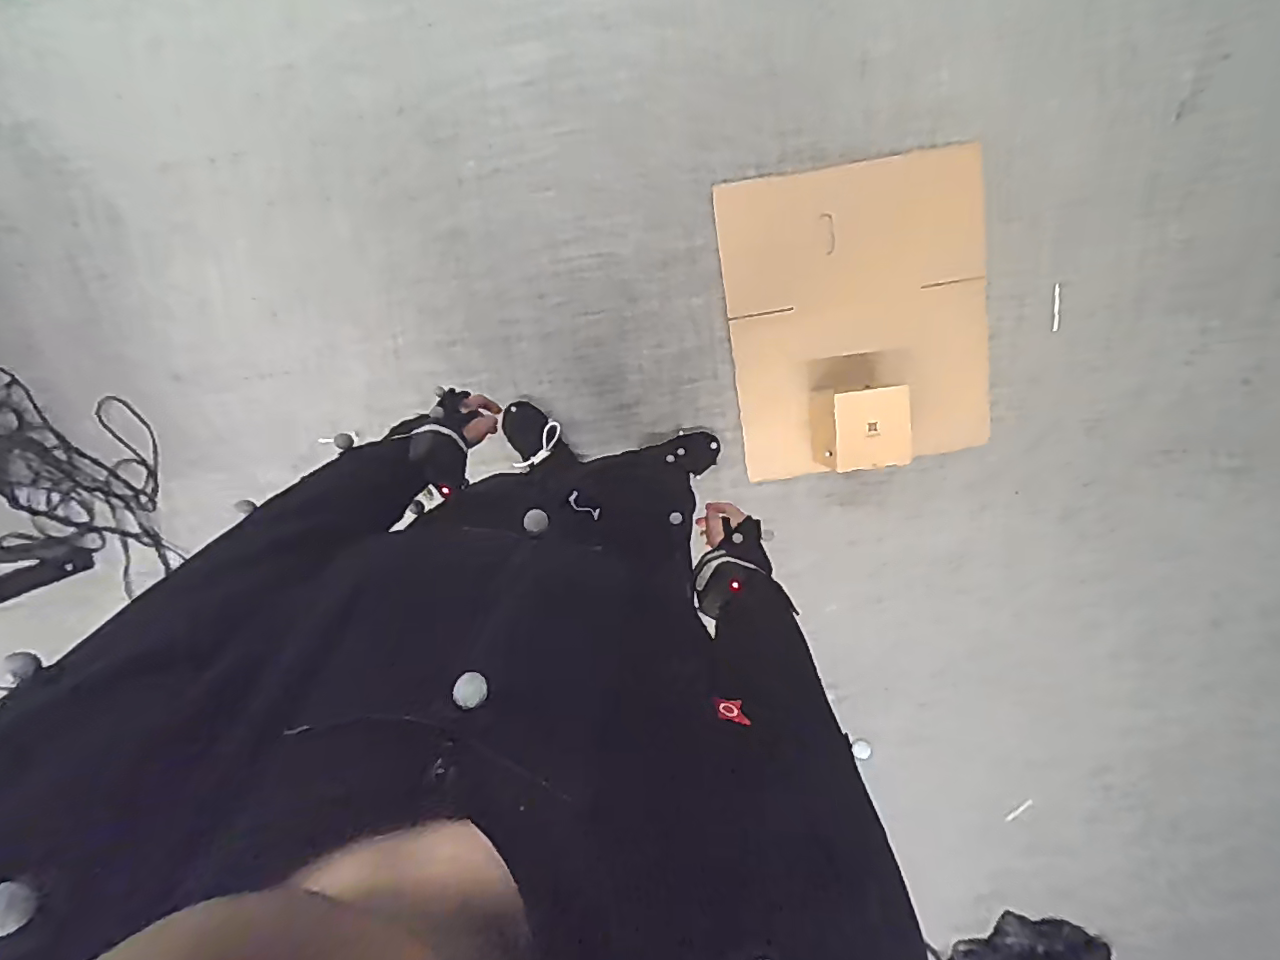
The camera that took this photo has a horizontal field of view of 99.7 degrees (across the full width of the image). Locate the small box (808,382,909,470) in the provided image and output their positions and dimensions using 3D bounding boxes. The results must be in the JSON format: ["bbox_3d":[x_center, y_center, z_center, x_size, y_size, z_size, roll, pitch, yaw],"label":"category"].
[{"bbox_3d":[0.495,-0.131,1.242,0.168,0.176,0.179,-7,103,0],"label":"small box"}]
